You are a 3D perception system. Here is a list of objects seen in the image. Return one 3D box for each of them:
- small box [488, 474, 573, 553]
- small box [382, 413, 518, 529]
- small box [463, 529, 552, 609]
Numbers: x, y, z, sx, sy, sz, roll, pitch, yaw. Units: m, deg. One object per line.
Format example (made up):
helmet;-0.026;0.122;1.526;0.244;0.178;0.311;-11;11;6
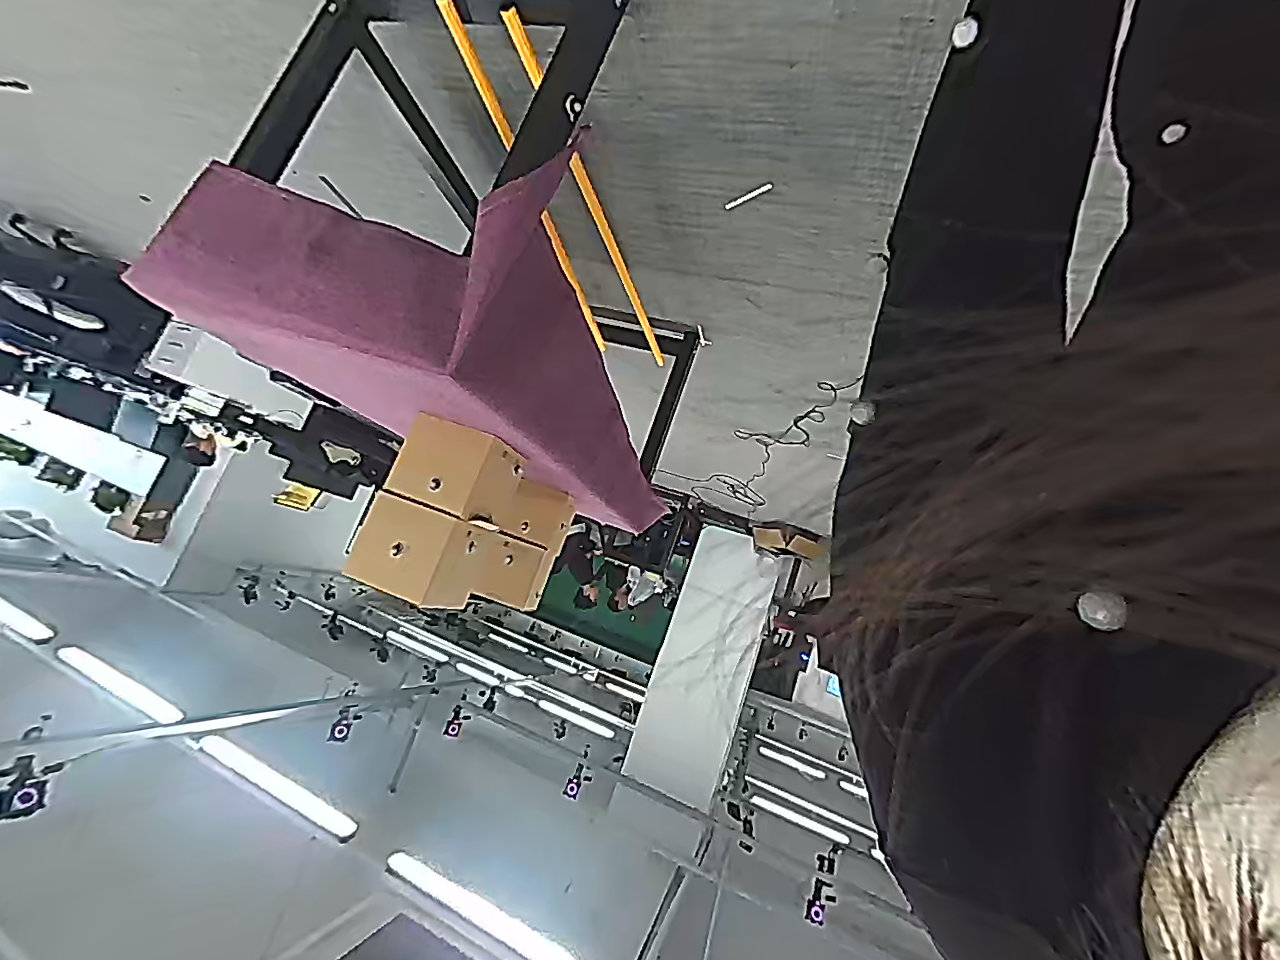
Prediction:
small box;-0.297;0.094;1.519;0.179;0.176;0.168;19;168;6
small box;-0.362;-0.017;1.073;0.179;0.176;0.168;18;169;14
small box;-0.353;0.244;1.483;0.168;0.176;0.179;18;168;4
